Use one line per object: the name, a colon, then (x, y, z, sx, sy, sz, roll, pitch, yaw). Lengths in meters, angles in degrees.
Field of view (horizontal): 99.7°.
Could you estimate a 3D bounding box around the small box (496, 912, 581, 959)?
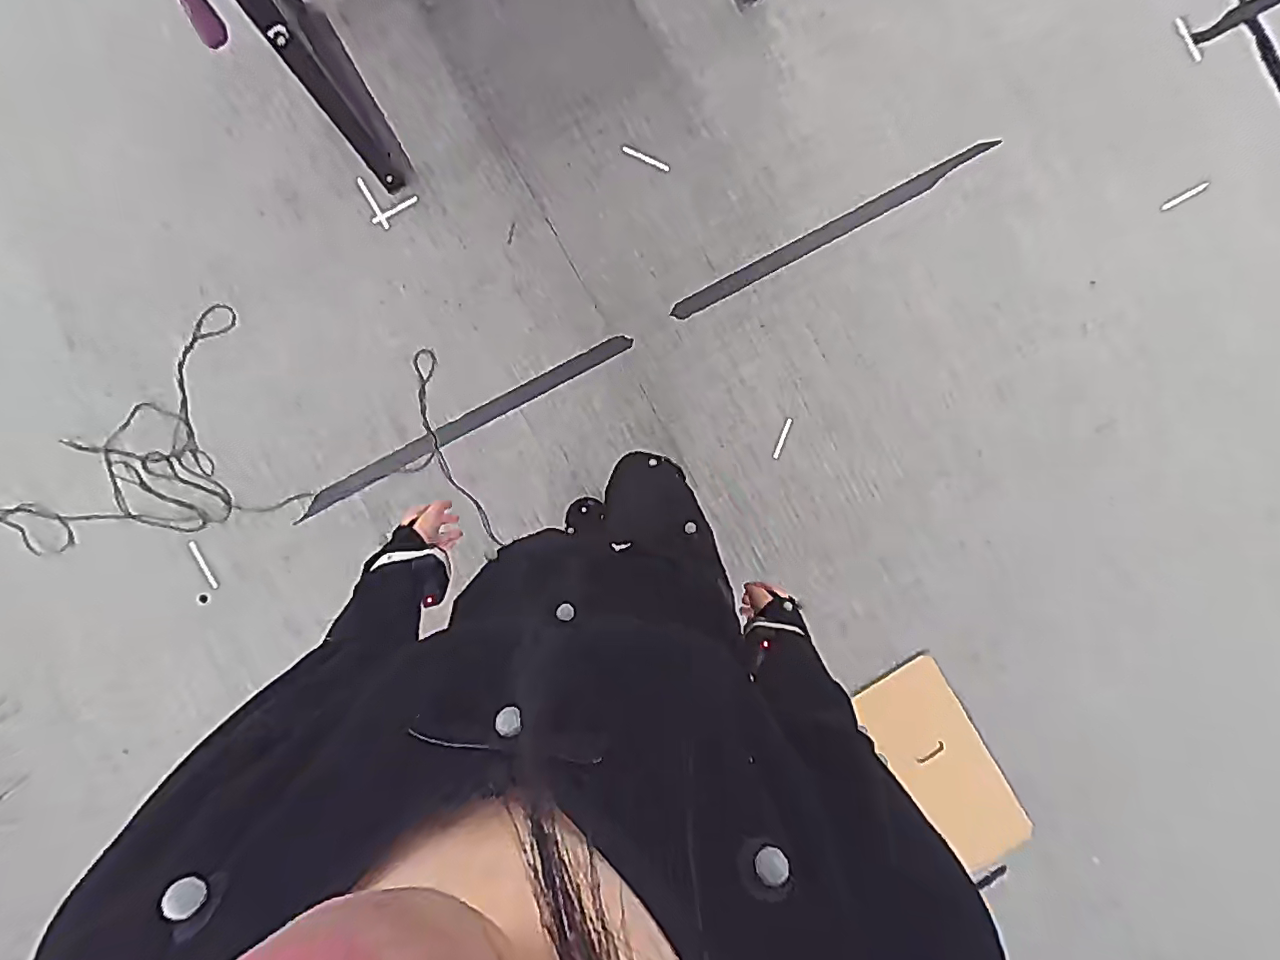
small box: (-0.224, 1.045, 1.097, 0.168, 0.176, 0.179, 19, 89, -2)
